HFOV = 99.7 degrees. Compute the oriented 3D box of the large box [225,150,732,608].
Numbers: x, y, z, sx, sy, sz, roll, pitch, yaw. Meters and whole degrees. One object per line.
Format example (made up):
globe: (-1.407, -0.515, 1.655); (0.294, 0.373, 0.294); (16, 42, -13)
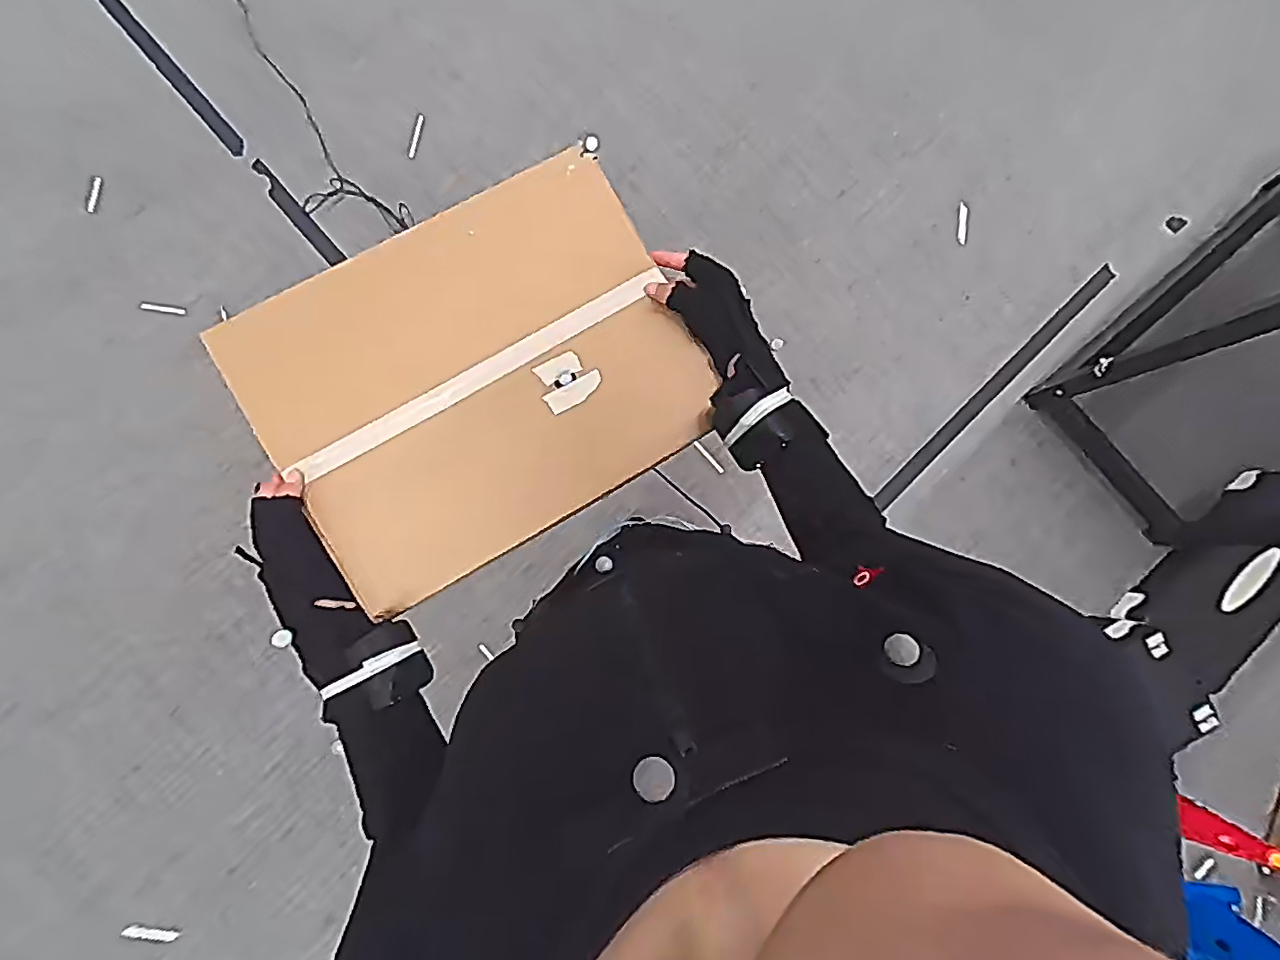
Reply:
large box: (-0.164, -0.099, 0.677); (0.408, 0.320, 0.320); (-31, 92, -7)
